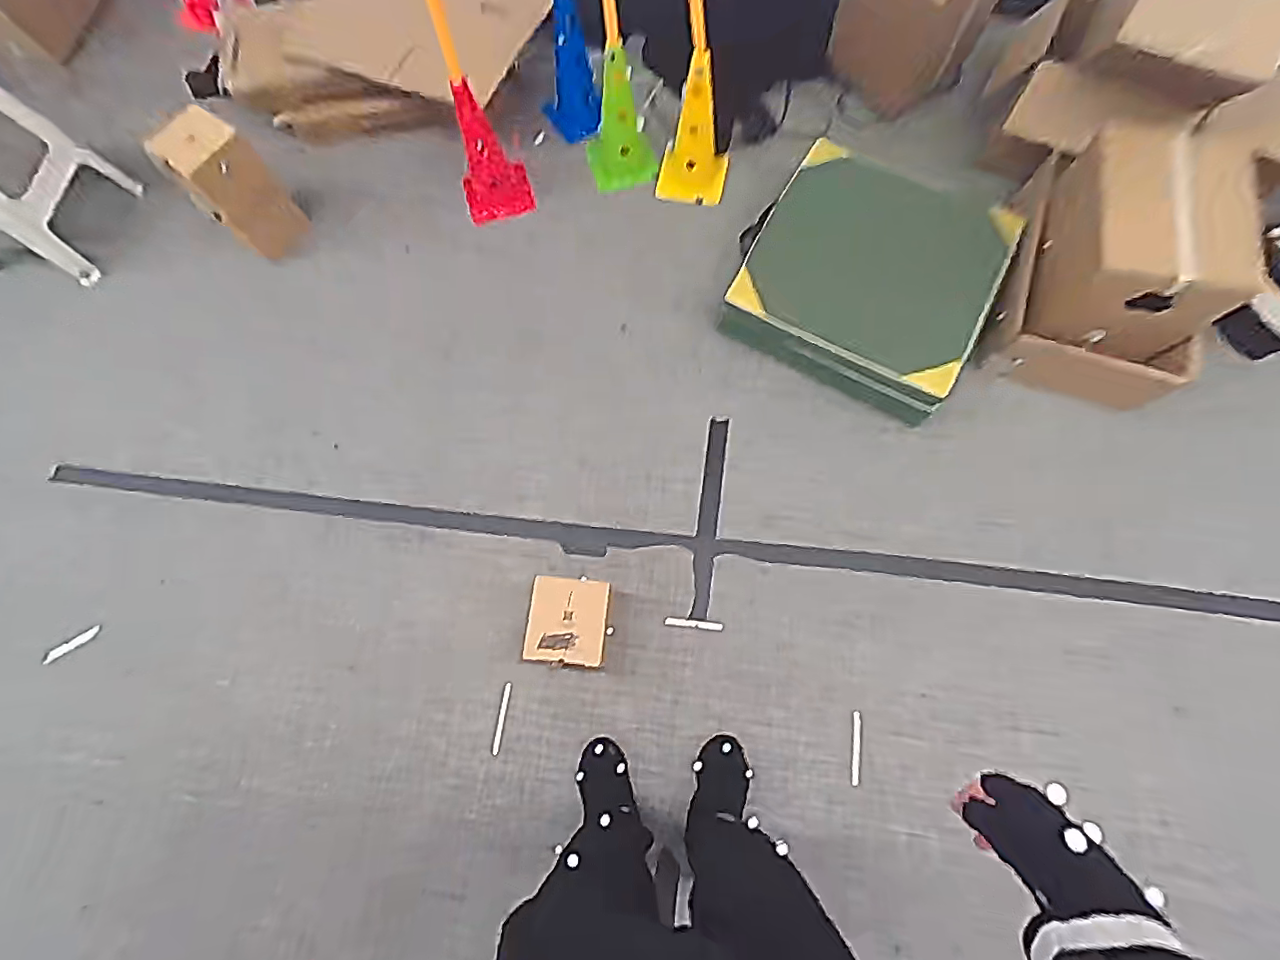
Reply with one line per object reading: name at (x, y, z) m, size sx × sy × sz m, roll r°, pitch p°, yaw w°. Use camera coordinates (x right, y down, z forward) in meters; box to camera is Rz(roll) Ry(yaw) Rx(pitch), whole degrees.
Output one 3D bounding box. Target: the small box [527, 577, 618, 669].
small box at (-0.144, 0.326, 1.225) m, size 0.168 × 0.176 × 0.179 m, roll 5°, pitch 72°, yaw 4°
